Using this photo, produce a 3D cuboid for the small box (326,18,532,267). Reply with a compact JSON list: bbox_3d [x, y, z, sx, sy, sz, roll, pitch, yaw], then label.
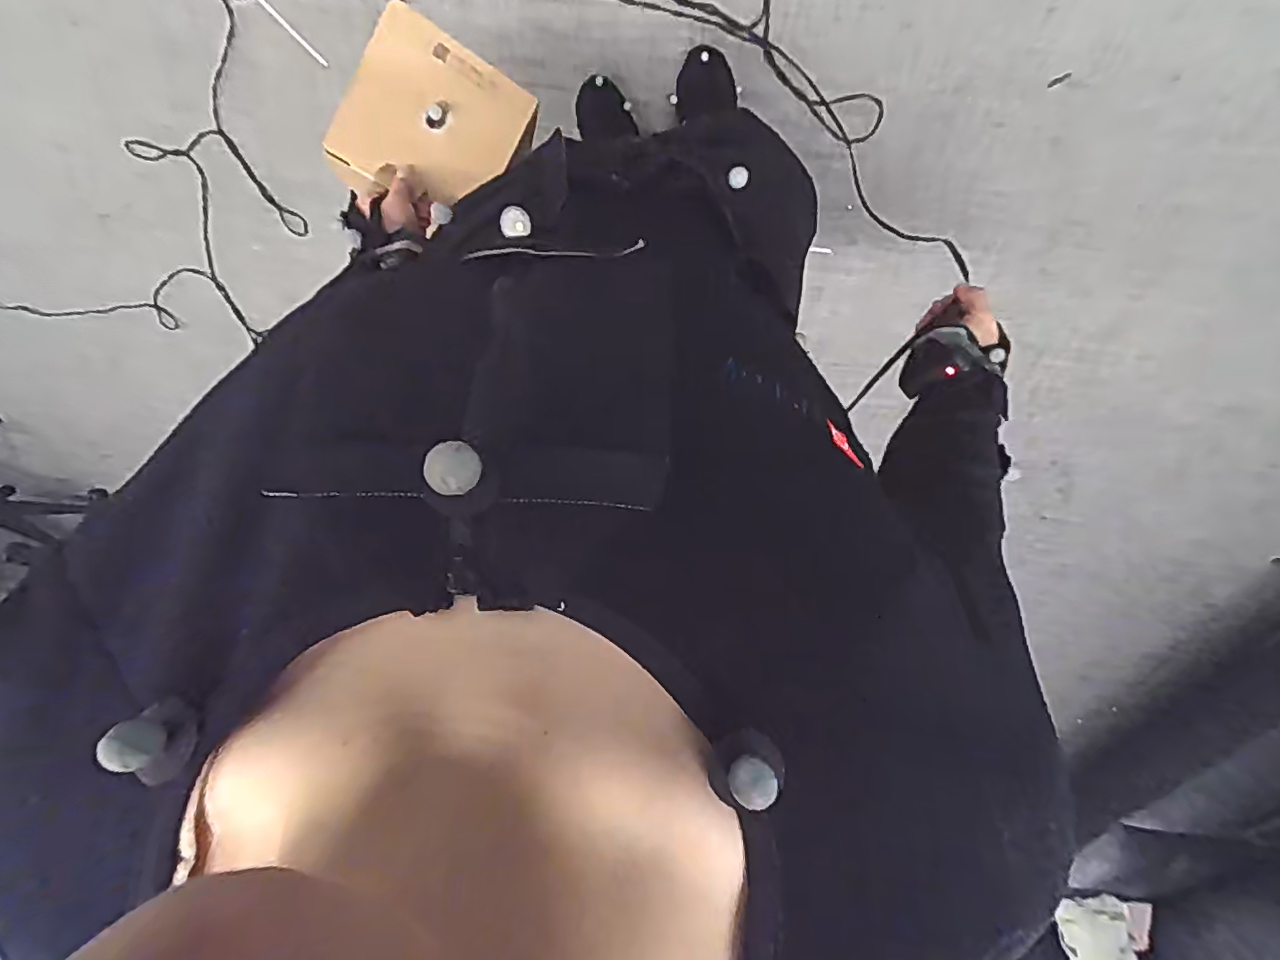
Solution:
[{"bbox_3d":[-0.242,-0.390,0.655,0.168,0.179,0.176,25,94,-19],"label":"small box"}]
